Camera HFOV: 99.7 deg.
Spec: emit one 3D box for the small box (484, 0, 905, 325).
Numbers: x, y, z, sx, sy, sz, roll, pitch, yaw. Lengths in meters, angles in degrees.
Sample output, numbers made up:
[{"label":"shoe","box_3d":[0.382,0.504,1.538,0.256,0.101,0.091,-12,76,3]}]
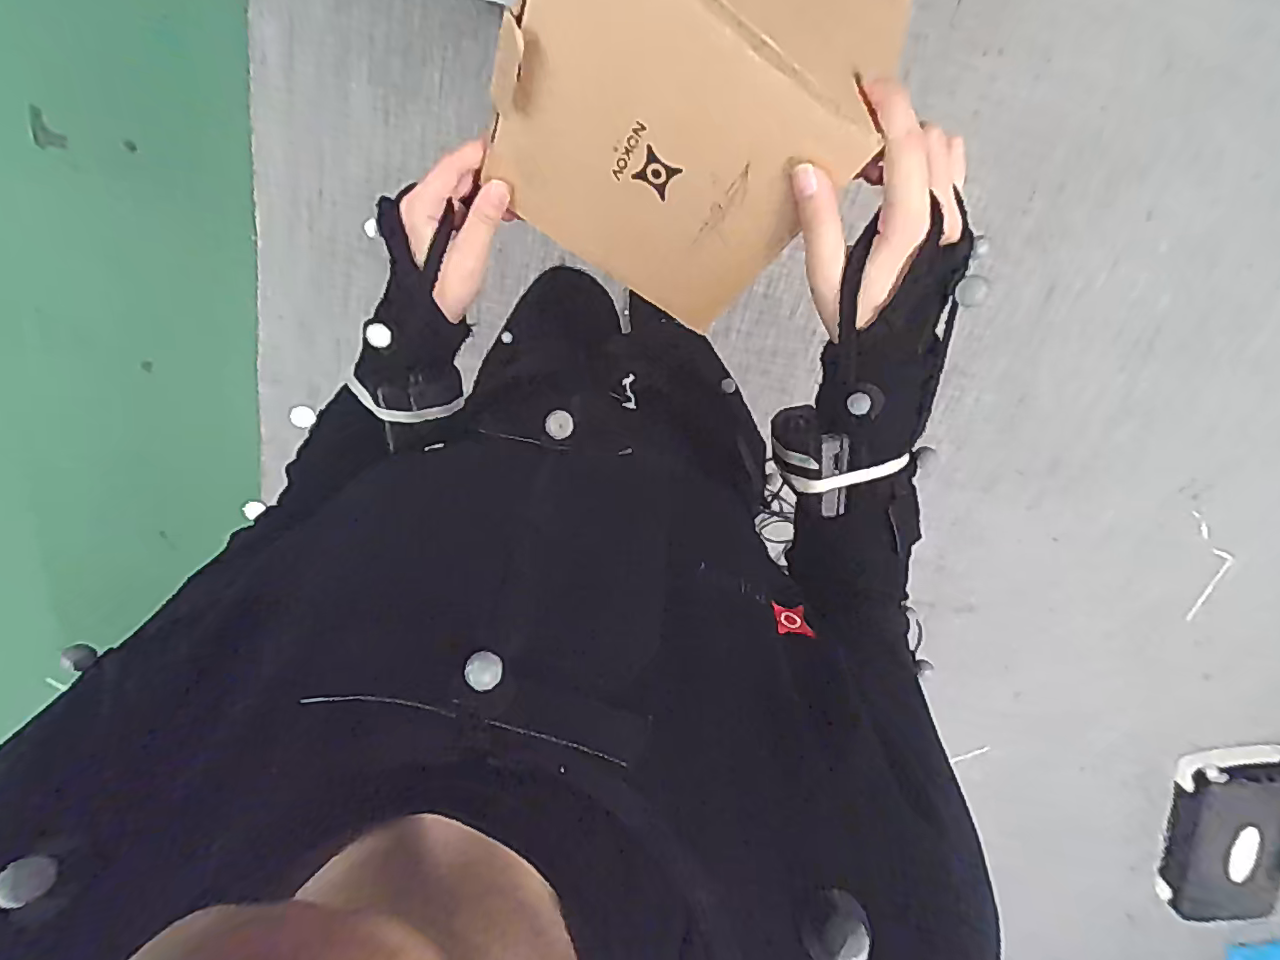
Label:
[{"label":"small box","box_3d":[0.033,-0.240,0.331,0.179,0.176,0.168,27,152,-15]}]
